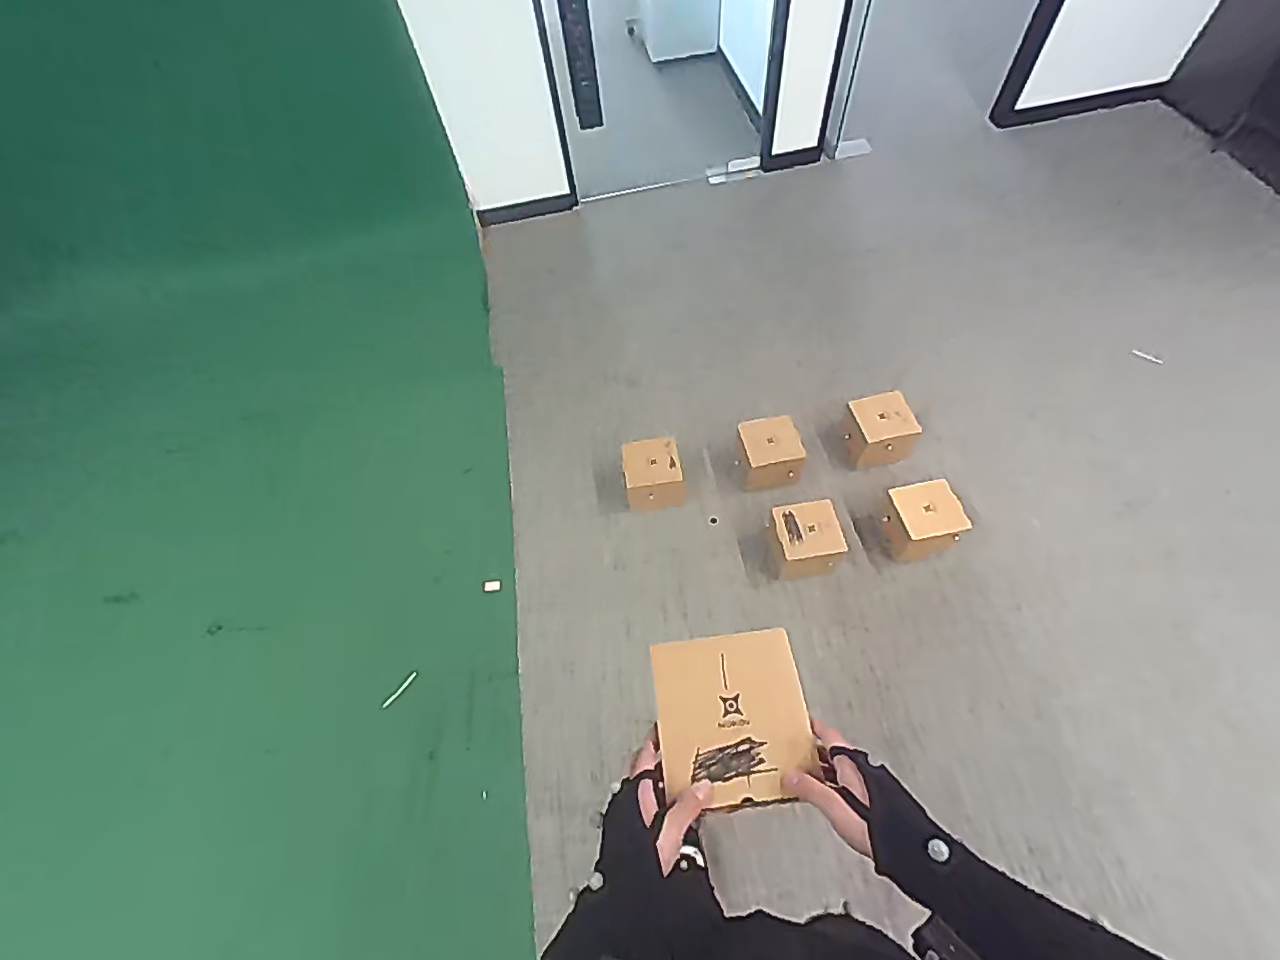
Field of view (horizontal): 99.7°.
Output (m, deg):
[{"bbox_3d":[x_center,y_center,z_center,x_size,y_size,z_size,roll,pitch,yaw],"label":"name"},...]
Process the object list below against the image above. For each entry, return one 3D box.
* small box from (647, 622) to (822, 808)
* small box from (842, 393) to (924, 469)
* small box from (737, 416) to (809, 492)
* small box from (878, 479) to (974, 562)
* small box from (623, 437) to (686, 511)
[{"bbox_3d":[0.101,0.288,0.653,0.168,0.176,0.179,-6,57,-1],"label":"small box"},{"bbox_3d":[0.770,-0.153,1.742,0.179,0.176,0.168,-11,60,-2],"label":"small box"},{"bbox_3d":[0.420,-0.080,1.734,0.179,0.176,0.168,-11,59,-1],"label":"small box"},{"bbox_3d":[0.820,0.124,1.579,0.179,0.176,0.168,-11,59,-2],"label":"small box"},{"bbox_3d":[0.048,-0.015,1.729,0.179,0.176,0.168,-9,59,1],"label":"small box"}]
